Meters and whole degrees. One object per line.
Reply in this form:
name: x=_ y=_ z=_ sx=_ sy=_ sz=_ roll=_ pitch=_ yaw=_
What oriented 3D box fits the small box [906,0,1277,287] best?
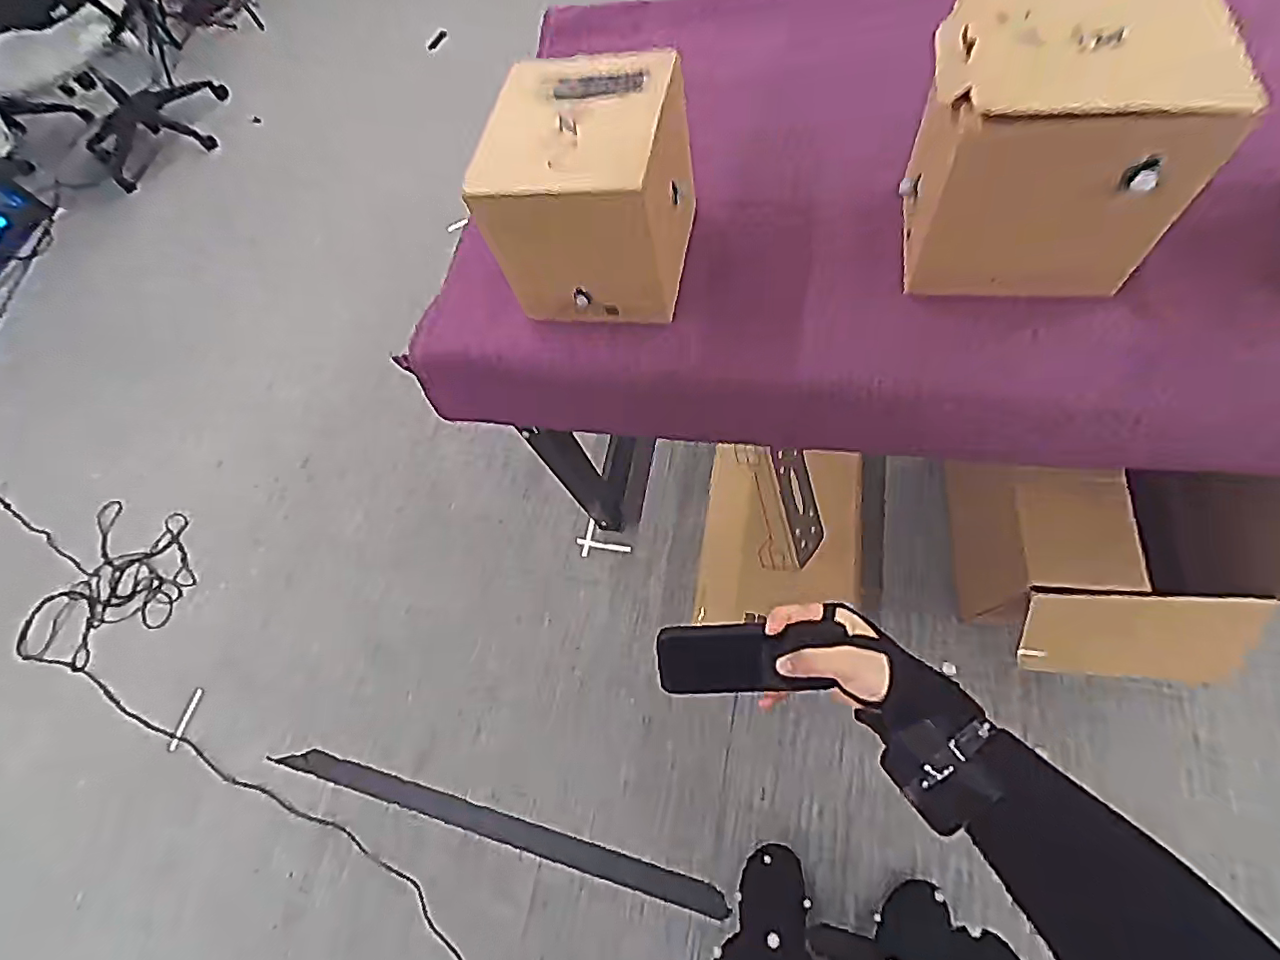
small box: x=0.342 y=-0.283 z=0.457 sx=0.179 sy=0.176 sz=0.168 roll=6 pitch=66 yaw=14
